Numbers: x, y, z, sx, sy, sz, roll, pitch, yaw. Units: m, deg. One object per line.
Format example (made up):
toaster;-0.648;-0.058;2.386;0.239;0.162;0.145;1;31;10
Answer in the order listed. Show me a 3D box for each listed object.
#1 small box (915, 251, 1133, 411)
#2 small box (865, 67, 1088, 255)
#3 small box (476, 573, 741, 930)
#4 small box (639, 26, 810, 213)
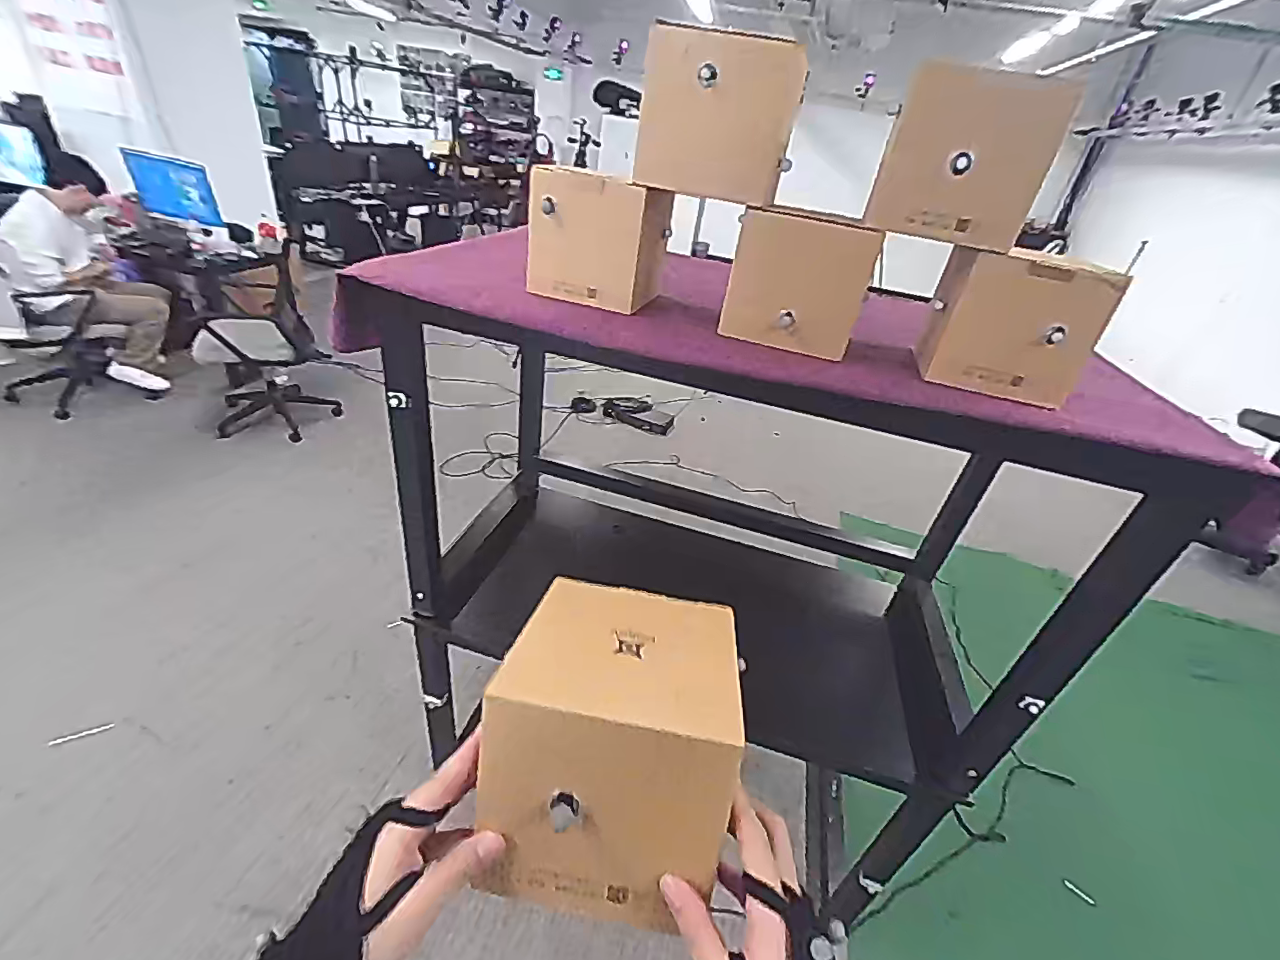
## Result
small box;0.491;-0.208;0.726;0.168;0.176;0.179;17;31;13
small box;0.390;-0.383;0.666;0.168;0.176;0.179;18;32;12
small box;-0.018;0.195;0.424;0.168;0.176;0.179;9;14;5
small box;0.109;-0.458;0.709;0.179;0.176;0.168;17;31;10
